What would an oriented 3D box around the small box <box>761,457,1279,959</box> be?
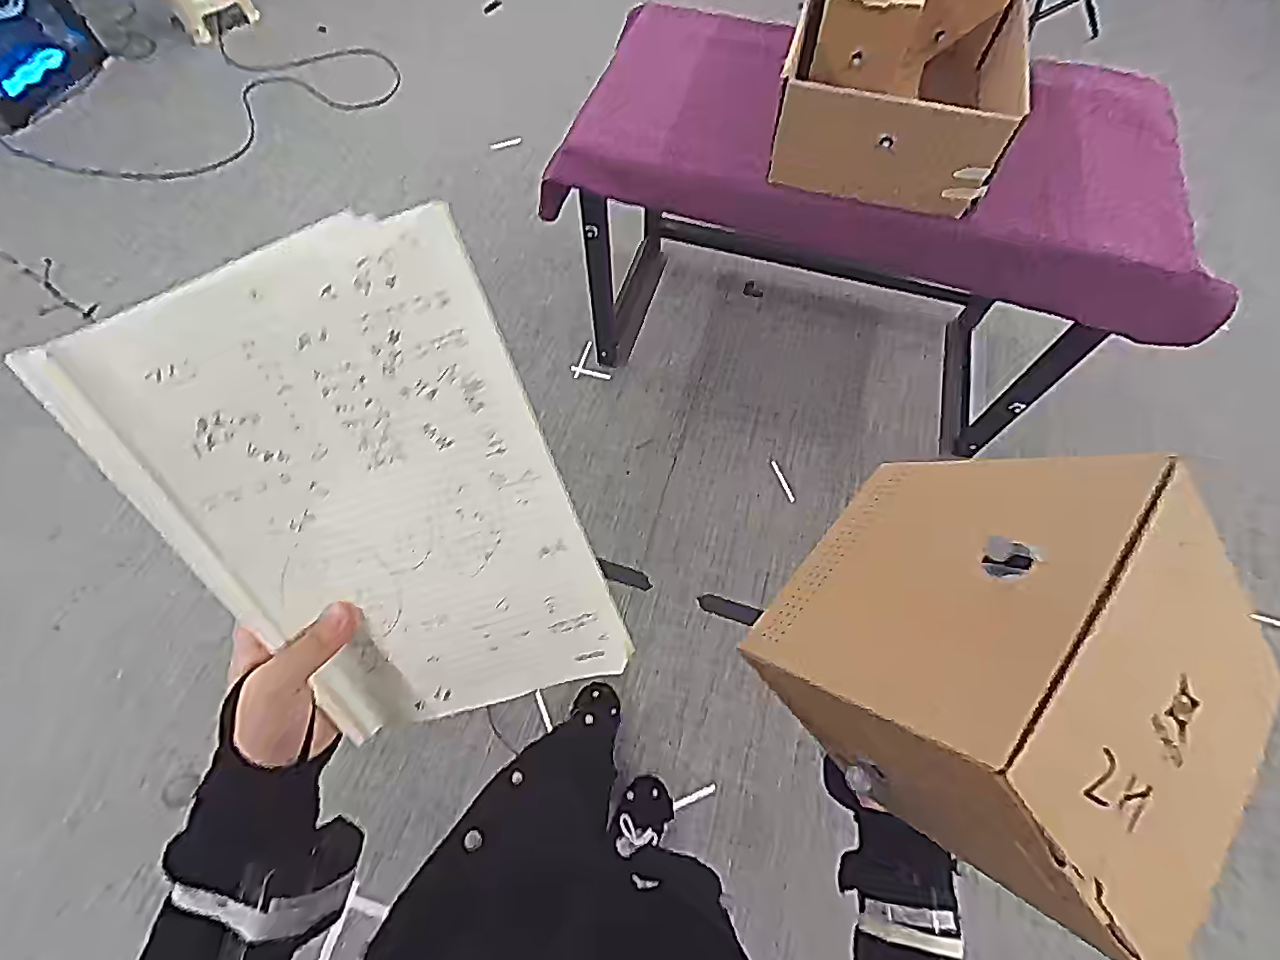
[{"bbox_3d":[0.206,0.105,0.313,0.179,0.176,0.168,-45,107,-18],"label":"small box"}]
